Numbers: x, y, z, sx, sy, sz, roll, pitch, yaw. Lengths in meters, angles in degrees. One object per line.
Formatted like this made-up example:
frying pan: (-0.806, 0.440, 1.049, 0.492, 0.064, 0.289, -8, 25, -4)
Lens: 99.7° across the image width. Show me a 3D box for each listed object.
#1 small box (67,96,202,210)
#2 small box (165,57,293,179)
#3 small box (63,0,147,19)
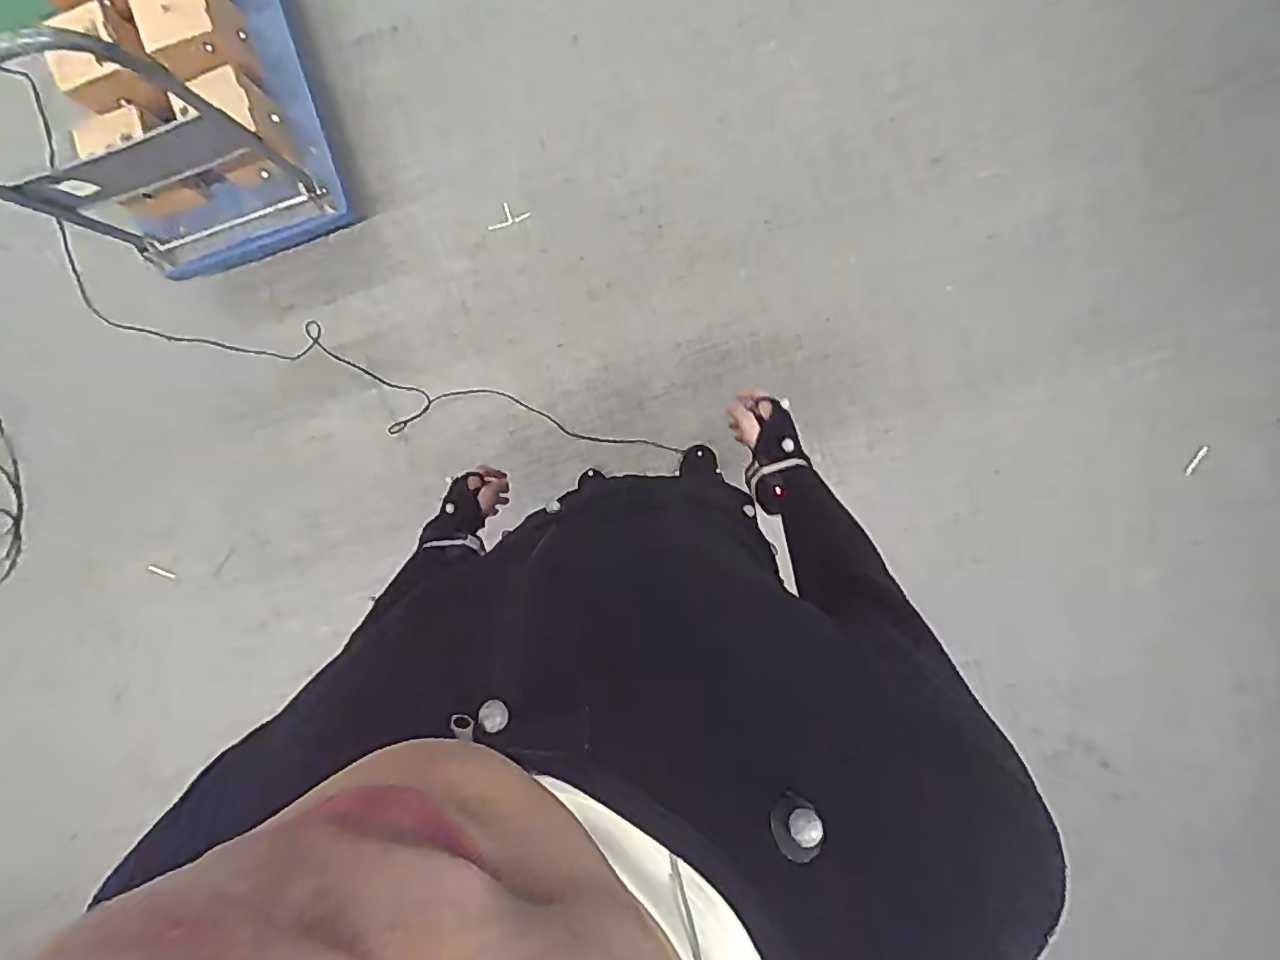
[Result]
small box: (-1.263, -0.818, 1.370, 0.179, 0.176, 0.168, -14, 93, 4)
small box: (-1.012, -0.895, 1.355, 0.179, 0.176, 0.168, -19, 93, 3)
small box: (-1.388, -1.298, 1.341, 0.168, 0.176, 0.179, -14, 94, 2)
